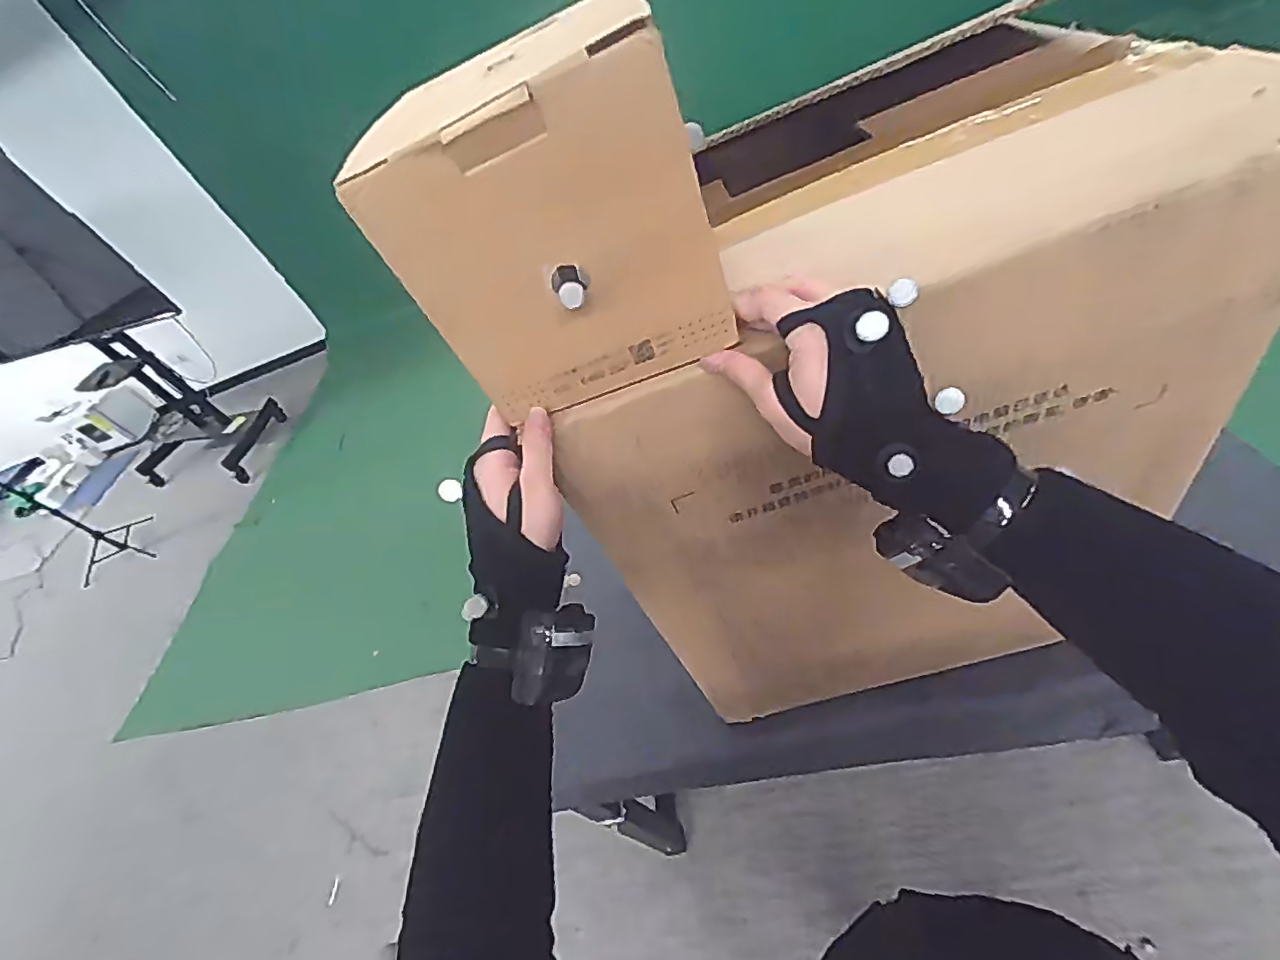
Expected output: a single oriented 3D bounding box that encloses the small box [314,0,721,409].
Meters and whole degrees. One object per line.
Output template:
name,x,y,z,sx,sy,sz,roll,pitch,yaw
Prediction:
small box,-0.056,-0.167,0.347,0.168,0.176,0.179,-18,47,12
